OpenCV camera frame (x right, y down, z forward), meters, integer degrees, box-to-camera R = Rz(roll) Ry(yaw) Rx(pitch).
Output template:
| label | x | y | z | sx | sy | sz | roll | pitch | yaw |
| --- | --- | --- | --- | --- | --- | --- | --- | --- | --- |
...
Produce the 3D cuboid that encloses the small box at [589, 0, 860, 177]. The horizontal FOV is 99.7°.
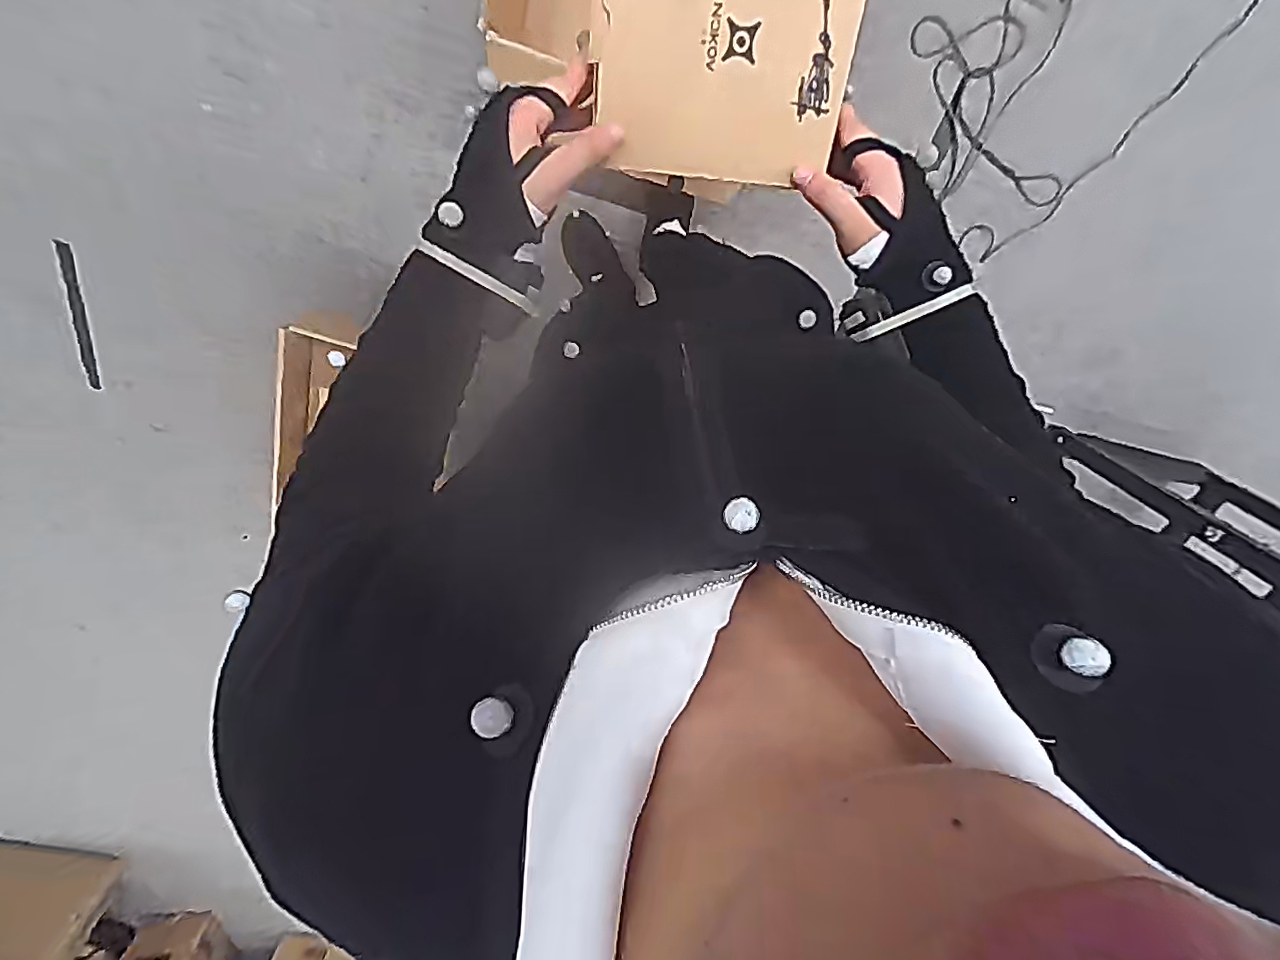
| label | x | y | z | sx | sy | sz | roll | pitch | yaw |
| --- | --- | --- | --- | --- | --- | --- | --- | --- | --- |
| small box | 0.054 | -0.344 | 0.430 | 0.179 | 0.176 | 0.168 | 3 | 120 | -6 |
